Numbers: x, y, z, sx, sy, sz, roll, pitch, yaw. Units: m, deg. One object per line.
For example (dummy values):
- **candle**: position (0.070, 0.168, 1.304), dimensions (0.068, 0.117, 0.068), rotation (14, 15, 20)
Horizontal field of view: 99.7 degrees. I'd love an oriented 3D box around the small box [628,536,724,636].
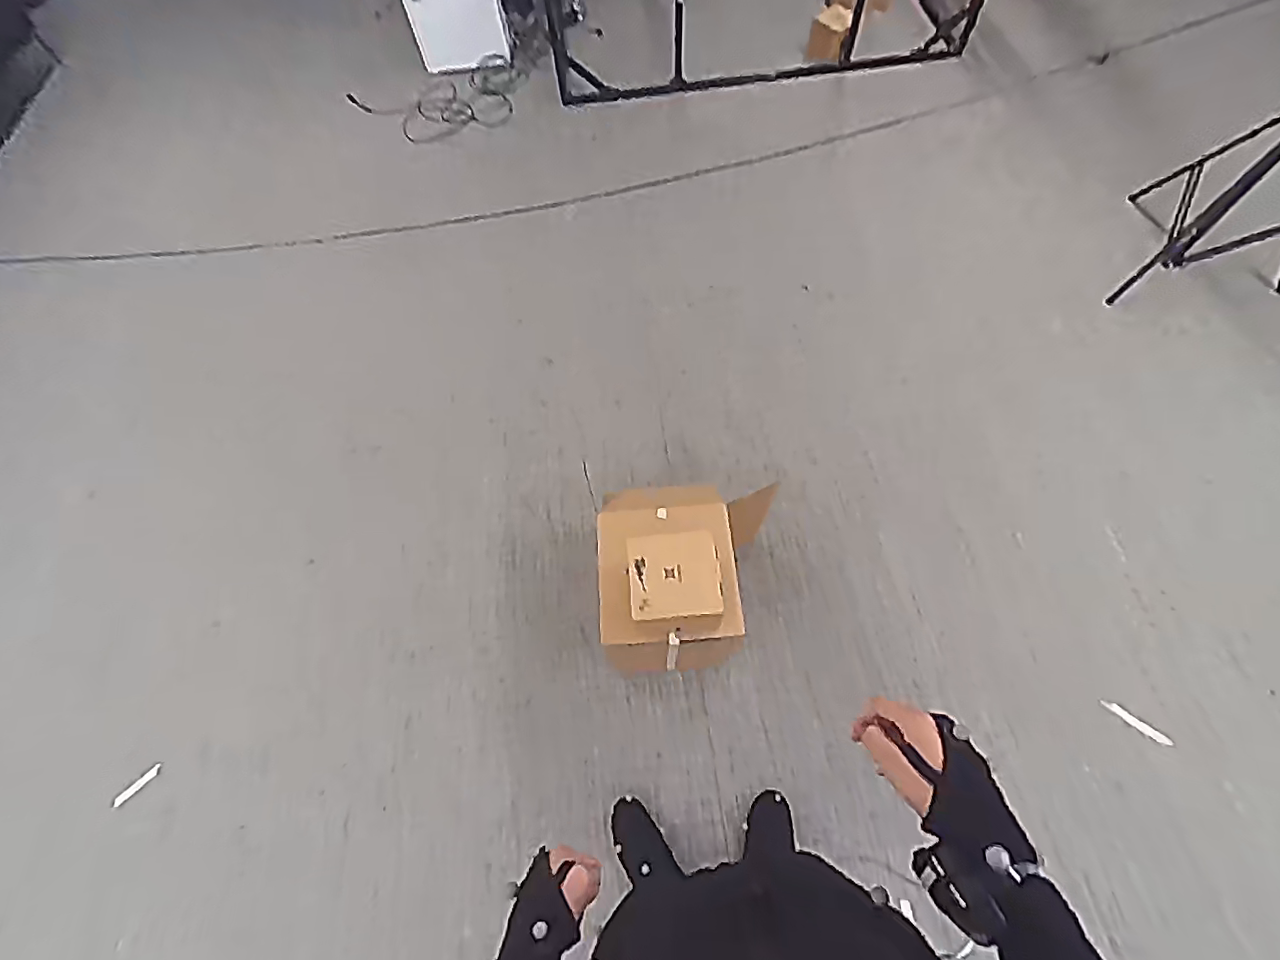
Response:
- **small box**: position (0.070, 0.223, 1.115), dimensions (0.179, 0.176, 0.168), rotation (-5, 65, 1)
